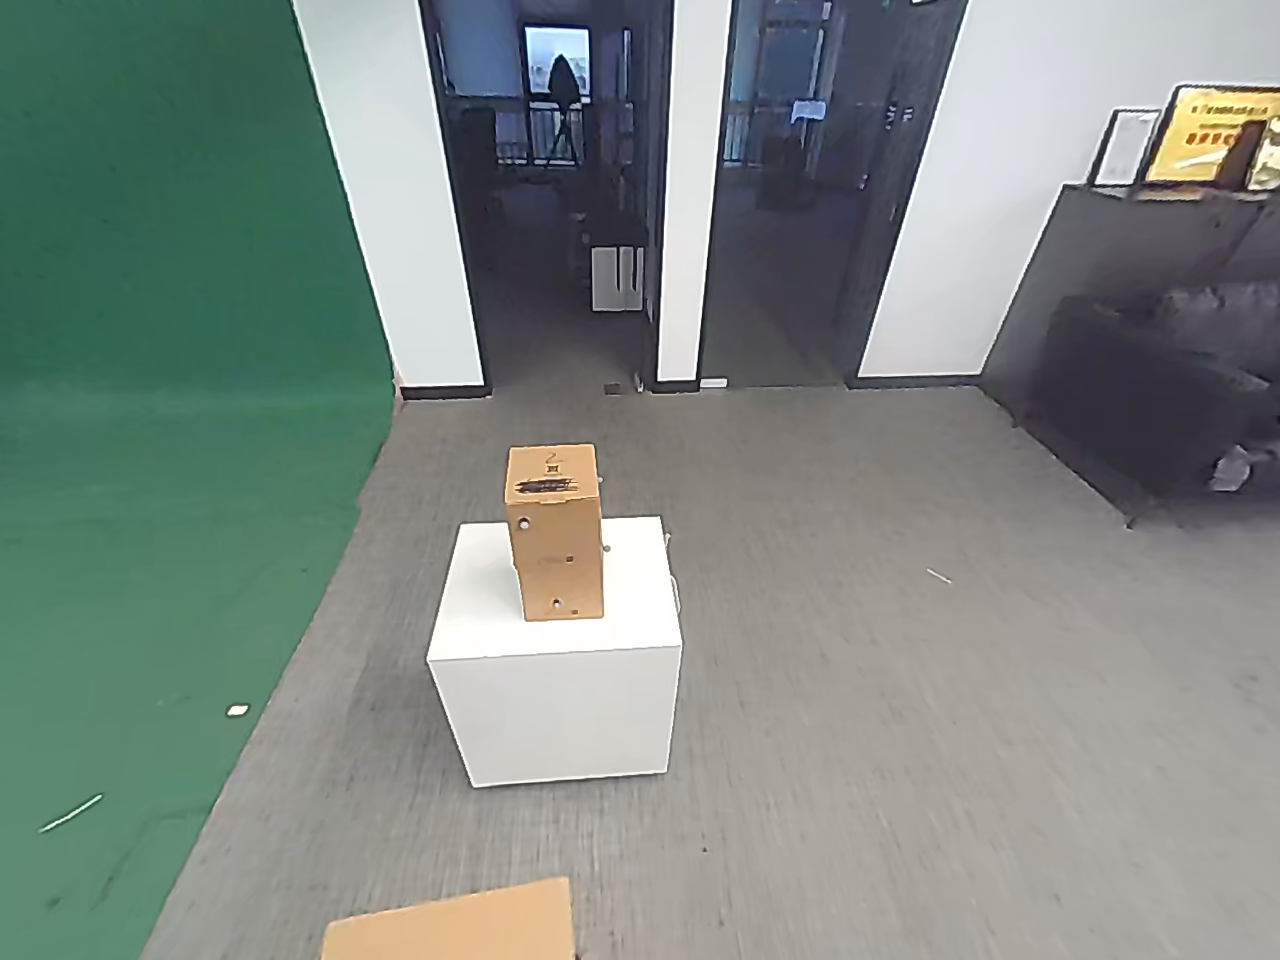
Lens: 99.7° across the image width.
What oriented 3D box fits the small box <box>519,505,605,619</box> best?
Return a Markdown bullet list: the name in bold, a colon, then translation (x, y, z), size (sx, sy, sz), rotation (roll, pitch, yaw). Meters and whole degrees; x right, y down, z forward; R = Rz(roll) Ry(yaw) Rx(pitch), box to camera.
- **small box**: translation (-0.161, 0.172, 1.153), size (0.168, 0.176, 0.179), rotation (-2, 38, -5)
